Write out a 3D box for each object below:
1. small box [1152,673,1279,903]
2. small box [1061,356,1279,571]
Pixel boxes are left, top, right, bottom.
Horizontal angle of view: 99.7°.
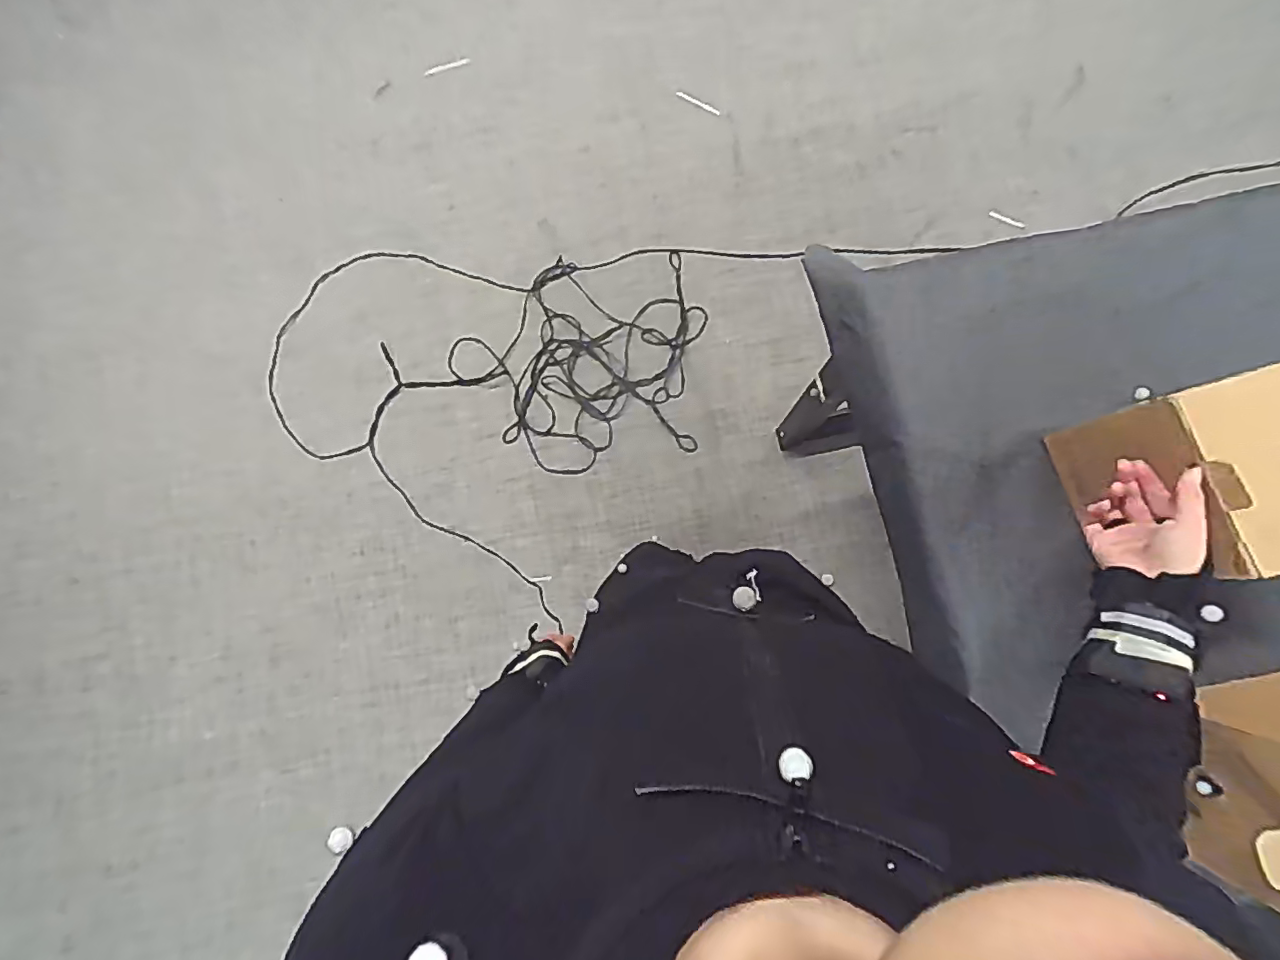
[{"bbox_3d":[0.636,0.282,0.484,0.179,0.176,0.168,-13,82,3],"label":"small box"},{"bbox_3d":[0.564,-0.015,0.528,0.179,0.176,0.168,-18,83,0],"label":"small box"}]
